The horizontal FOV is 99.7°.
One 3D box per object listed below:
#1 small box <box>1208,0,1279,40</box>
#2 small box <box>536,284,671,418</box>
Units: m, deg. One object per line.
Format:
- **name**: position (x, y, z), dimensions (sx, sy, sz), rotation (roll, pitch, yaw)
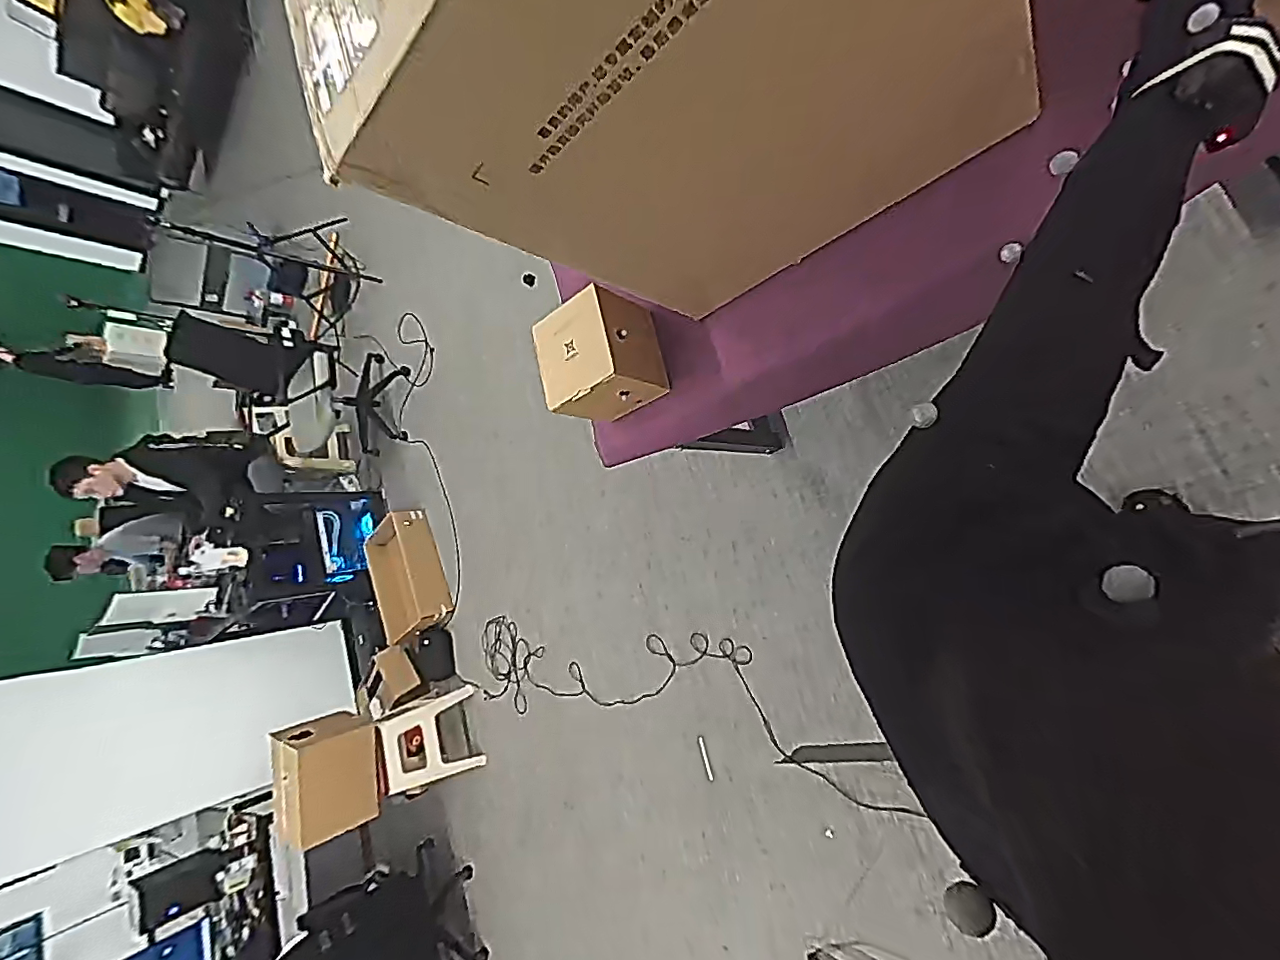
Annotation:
- **small box**: position (0.599, -0.522, 0.448), dimensions (0.168, 0.176, 0.179), rotation (-10, 84, 40)
- **small box**: position (-0.064, -0.225, 1.005), dimensions (0.168, 0.176, 0.179), rotation (-22, 73, 35)
